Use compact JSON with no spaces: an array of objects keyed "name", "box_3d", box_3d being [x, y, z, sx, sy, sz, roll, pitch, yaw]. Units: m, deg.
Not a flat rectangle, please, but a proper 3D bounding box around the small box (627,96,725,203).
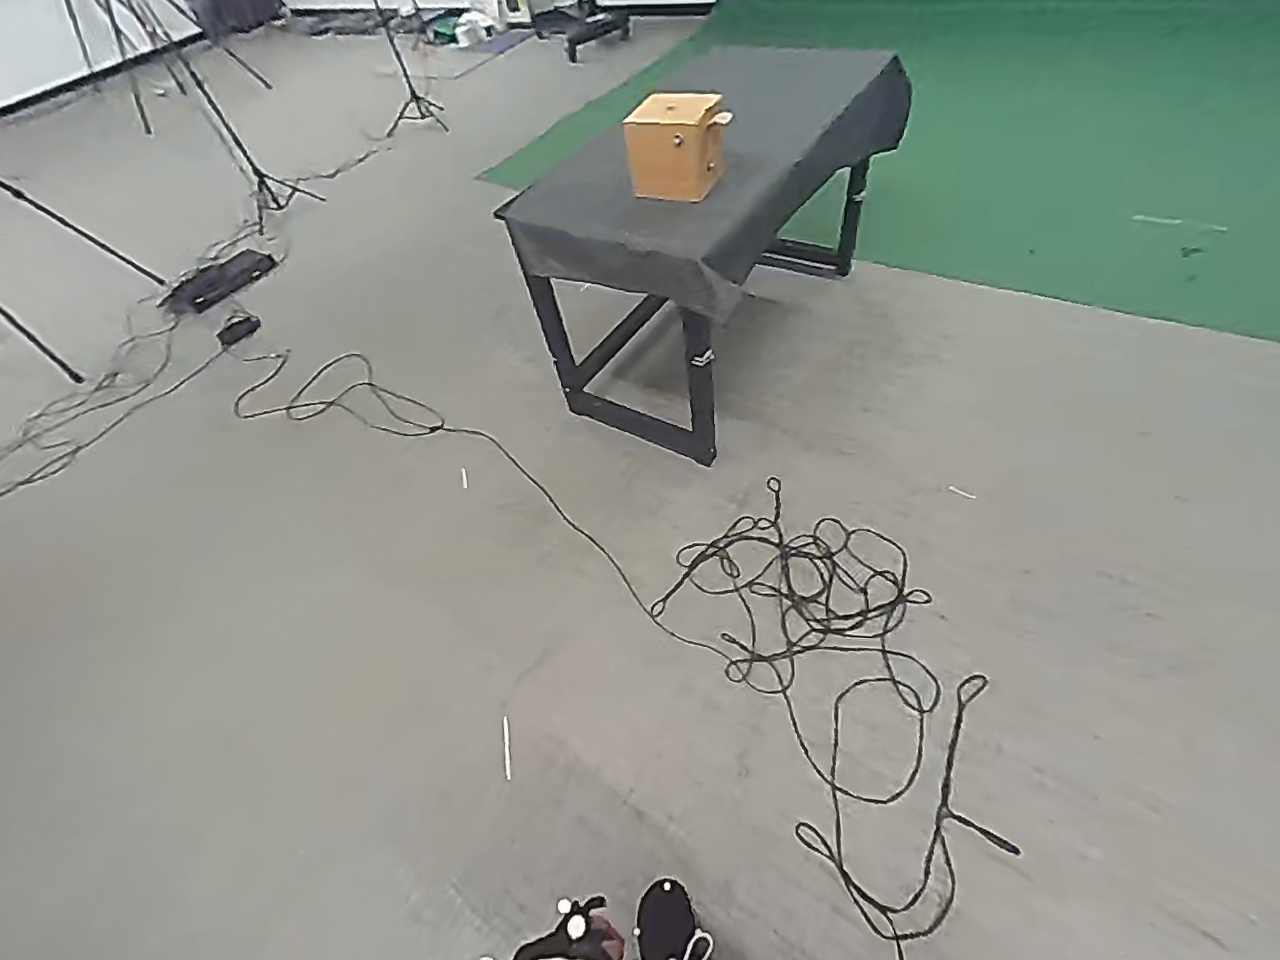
[{"name":"small box","box_3d":[0.091,-0.776,1.273,0.179,0.176,0.168,17,57,21]}]
